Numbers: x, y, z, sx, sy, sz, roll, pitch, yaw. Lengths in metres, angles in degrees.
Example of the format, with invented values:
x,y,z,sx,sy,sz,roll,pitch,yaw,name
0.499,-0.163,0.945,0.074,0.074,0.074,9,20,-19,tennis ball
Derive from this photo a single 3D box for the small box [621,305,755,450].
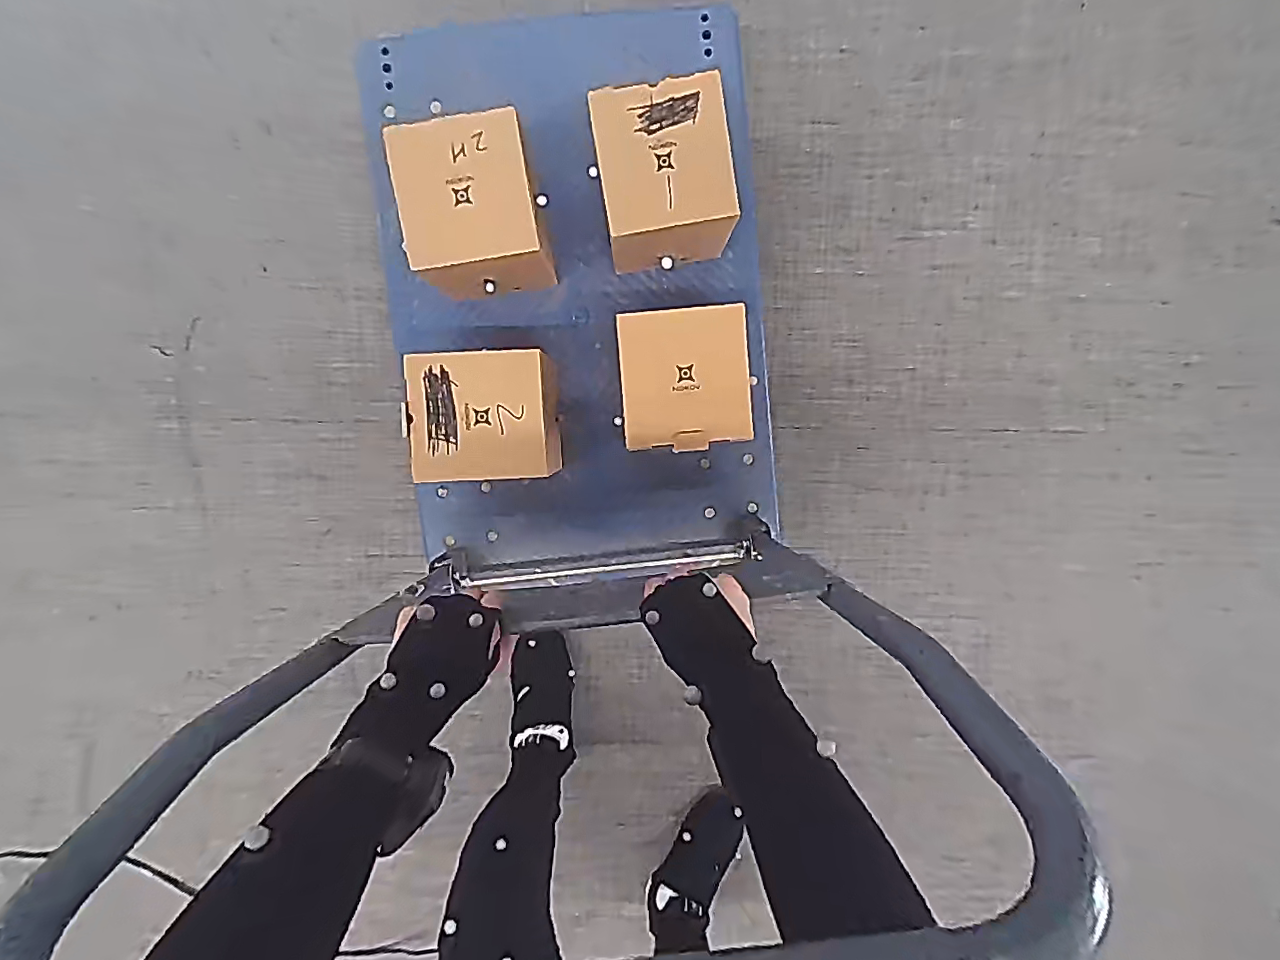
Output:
x,y,z,sx,sy,sz,roll,pitch,yaw,name
0.060,-0.137,0.768,0.168,0.176,0.179,-5,96,0,small box

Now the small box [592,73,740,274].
x,y,z,sx,sy,sz,roll,pitch,yaw,name
0.032,-0.405,0.742,0.168,0.176,0.179,-9,96,1,small box

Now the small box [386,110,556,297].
x,y,z,sx,sy,sz,roll,pitch,yaw,name
-0.217,-0.361,0.744,0.168,0.176,0.179,-9,95,0,small box
